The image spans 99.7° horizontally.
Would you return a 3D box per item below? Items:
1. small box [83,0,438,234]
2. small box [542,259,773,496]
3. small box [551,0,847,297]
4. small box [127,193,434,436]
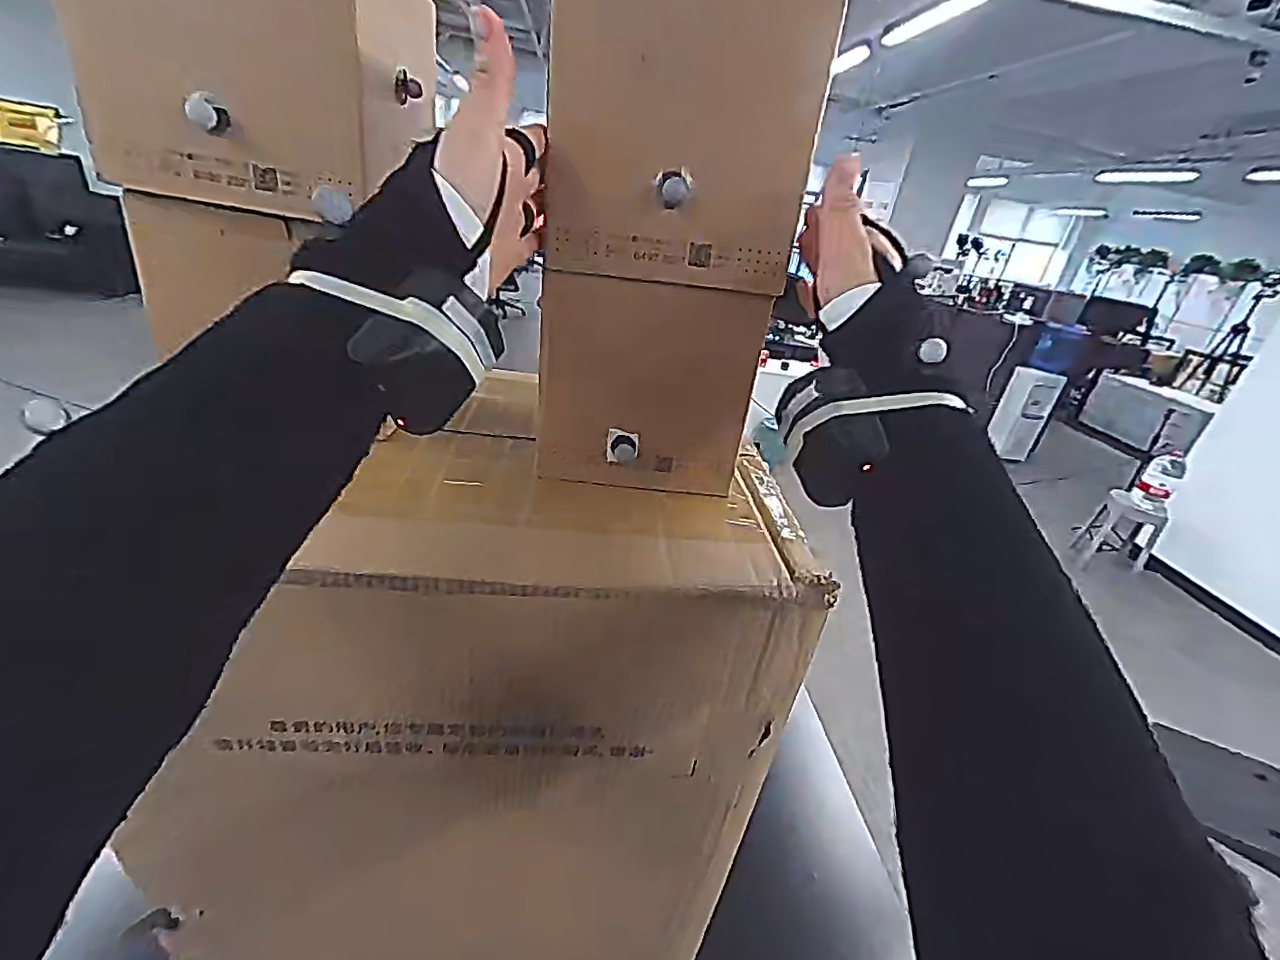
[{"bbox_3d":[-0.257,-0.289,0.398,0.168,0.176,0.179,6,27,-8],"label":"small box"},{"bbox_3d":[0.003,-0.104,0.490,0.168,0.176,0.179,4,28,-5],"label":"small box"},{"bbox_3d":[0.026,-0.246,0.408,0.168,0.176,0.179,5,27,-3],"label":"small box"},{"bbox_3d":[-0.288,-0.152,0.487,0.168,0.176,0.179,6,28,-9],"label":"small box"}]
